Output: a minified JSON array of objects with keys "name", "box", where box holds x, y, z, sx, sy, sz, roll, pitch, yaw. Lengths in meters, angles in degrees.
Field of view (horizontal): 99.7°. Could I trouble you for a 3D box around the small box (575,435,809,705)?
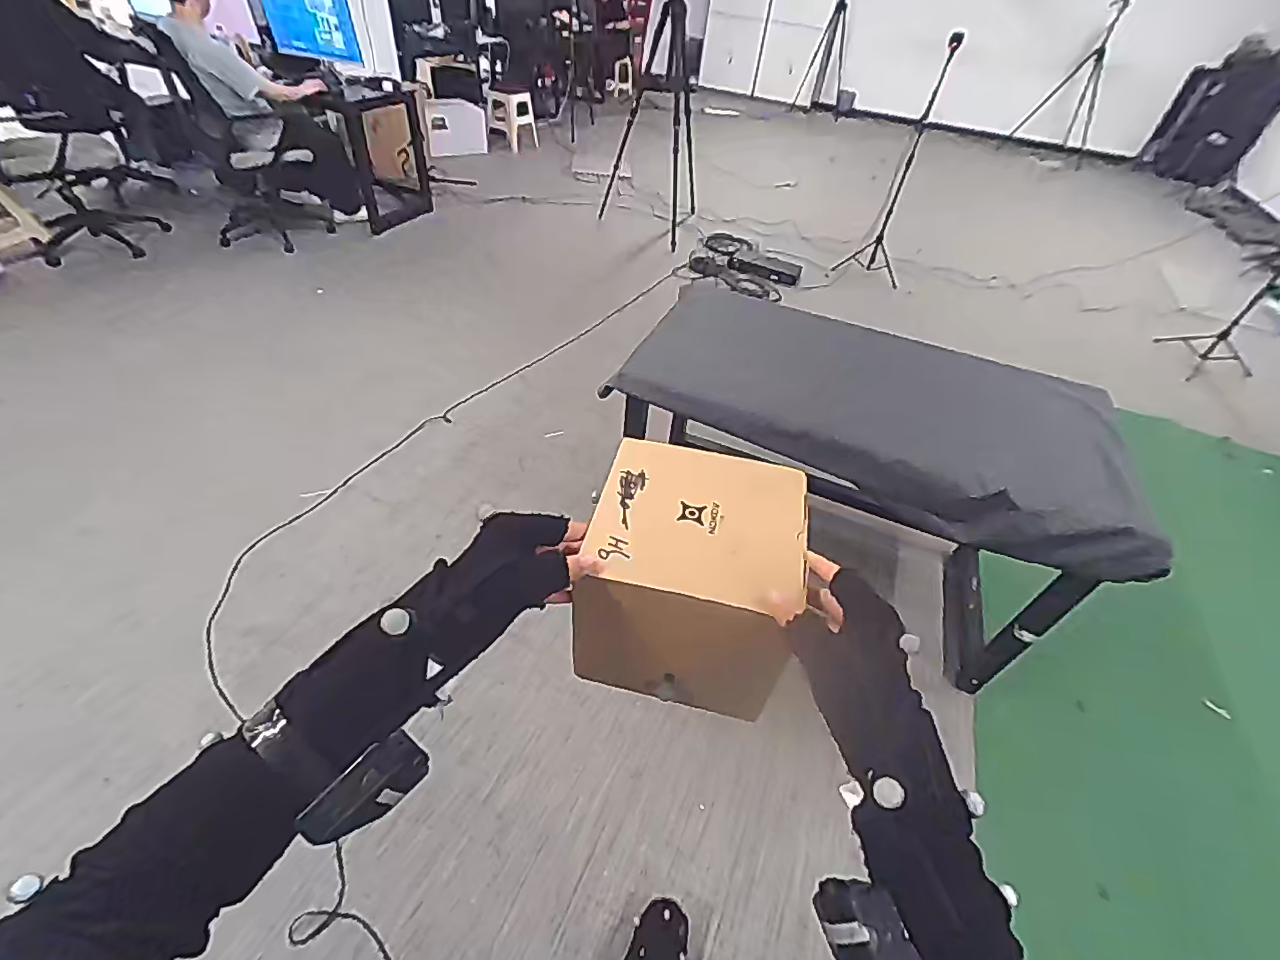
[{"name":"small box","box":[0.046,0.087,0.509,0.179,0.176,0.168,13,42,5]}]
